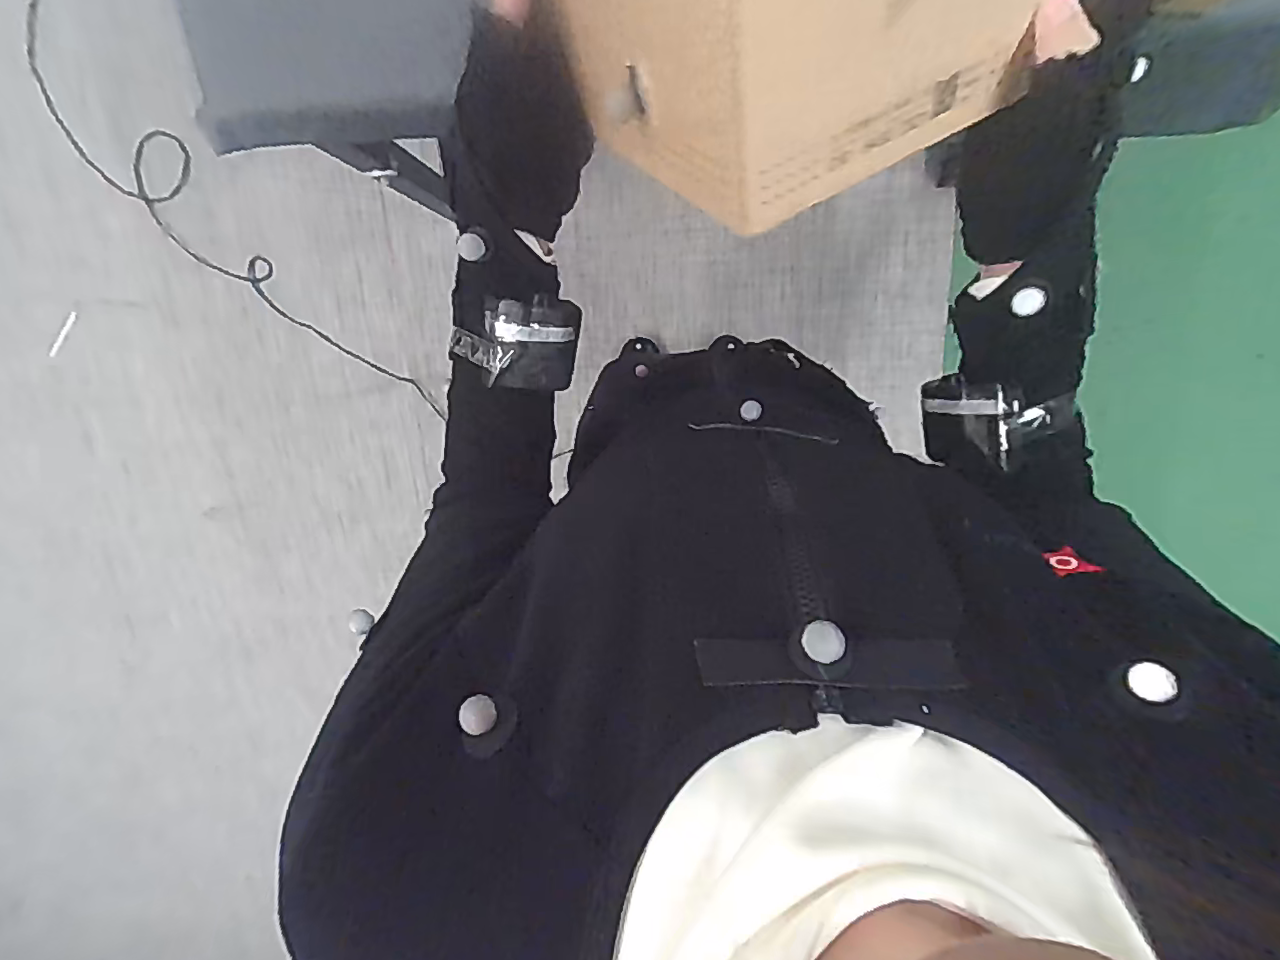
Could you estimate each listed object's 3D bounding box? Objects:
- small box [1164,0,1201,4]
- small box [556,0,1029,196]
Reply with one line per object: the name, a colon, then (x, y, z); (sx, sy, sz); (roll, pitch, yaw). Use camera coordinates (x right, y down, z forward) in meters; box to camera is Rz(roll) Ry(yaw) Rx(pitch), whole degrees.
small box: (0.495, -0.548, 0.452); (0.168, 0.176, 0.179); (5, 104, 1)
small box: (0.060, -0.256, 0.237); (0.168, 0.179, 0.176); (-32, 143, -10)
